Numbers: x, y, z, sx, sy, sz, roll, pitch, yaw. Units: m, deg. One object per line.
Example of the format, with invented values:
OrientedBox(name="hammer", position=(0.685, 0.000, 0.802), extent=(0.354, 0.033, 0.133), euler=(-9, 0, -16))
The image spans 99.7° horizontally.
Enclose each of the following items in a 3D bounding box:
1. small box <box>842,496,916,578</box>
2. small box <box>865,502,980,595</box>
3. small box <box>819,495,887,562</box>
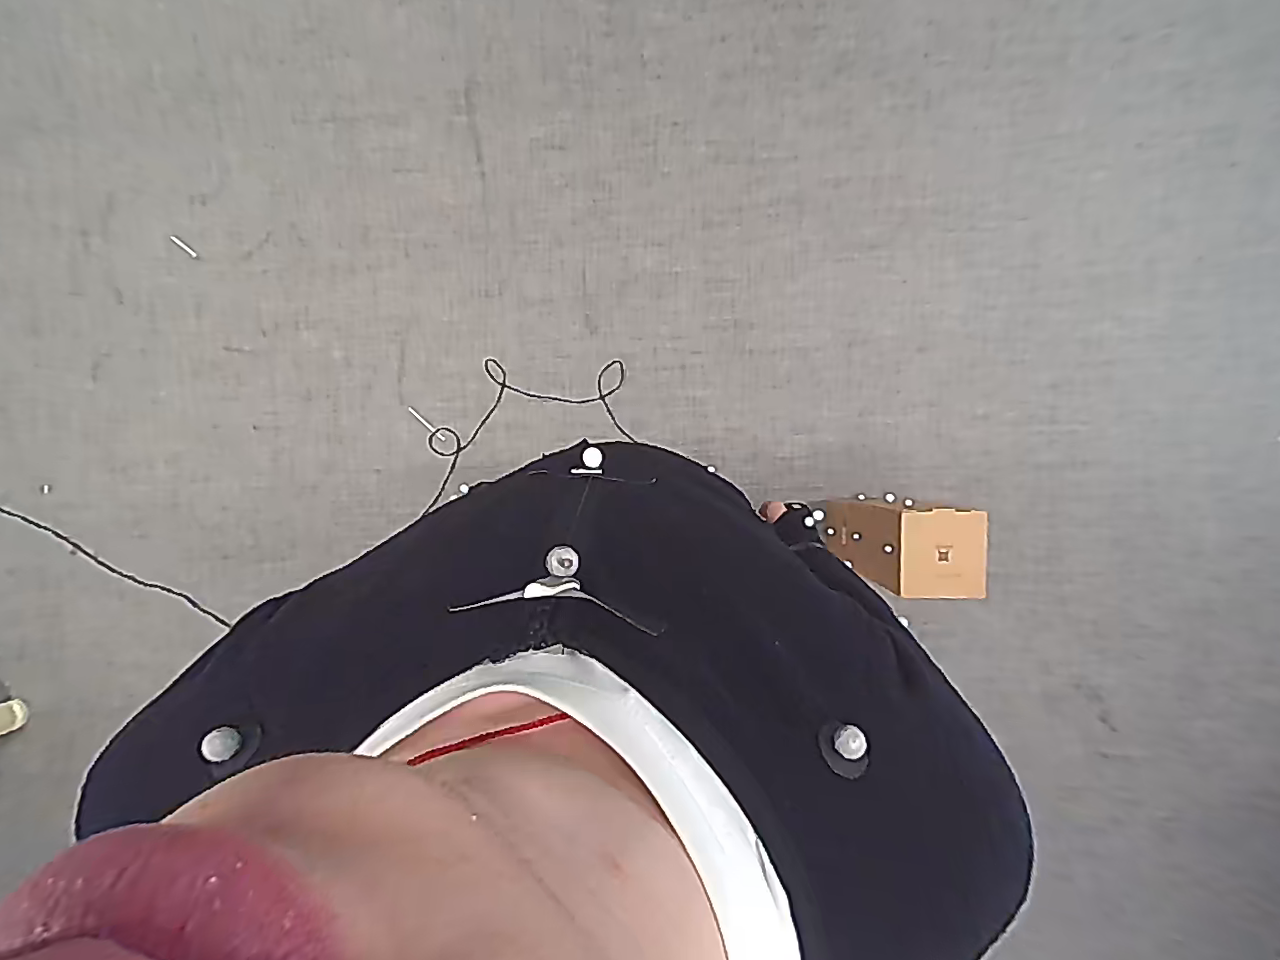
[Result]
OrientedBox(name="small box", position=(0.605, 0.136, 1.318), extent=(0.168, 0.176, 0.179), euler=(1, 94, -1))
OrientedBox(name="small box", position=(0.596, 0.138, 1.159), extent=(0.168, 0.176, 0.179), euler=(-1, 94, 2))
OrientedBox(name="small box", position=(0.607, 0.131, 1.504), extent=(0.179, 0.176, 0.168), euler=(-3, 92, 0))
